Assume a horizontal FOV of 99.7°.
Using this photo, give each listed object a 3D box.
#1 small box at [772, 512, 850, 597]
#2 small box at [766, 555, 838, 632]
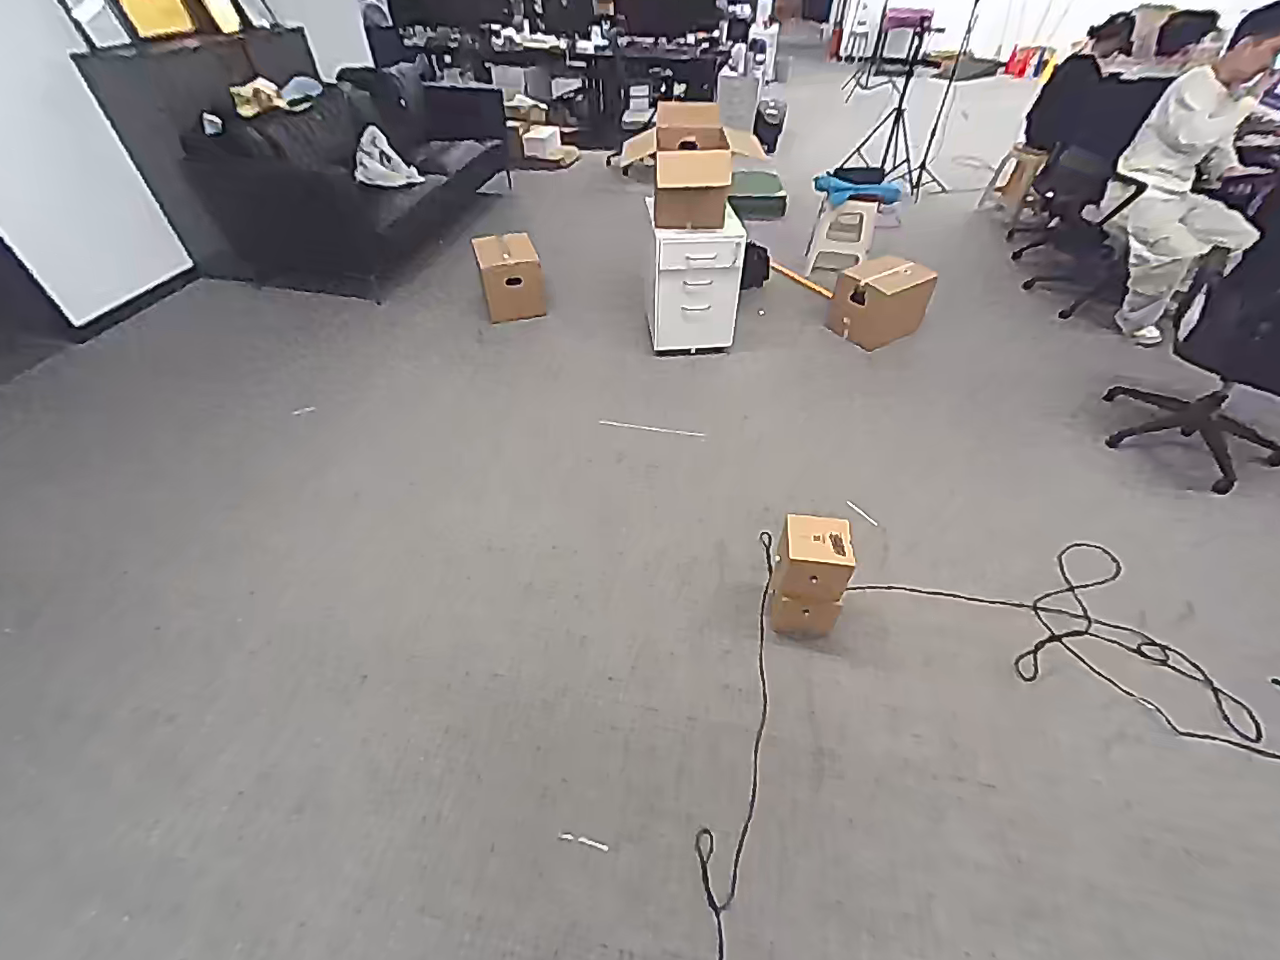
[{"bbox_3d":[0.482,0.216,1.545,0.179,0.176,0.168,5,44,7],"label":"small box"},{"bbox_3d":[0.484,0.346,1.646,0.179,0.176,0.168,4,45,3],"label":"small box"}]
